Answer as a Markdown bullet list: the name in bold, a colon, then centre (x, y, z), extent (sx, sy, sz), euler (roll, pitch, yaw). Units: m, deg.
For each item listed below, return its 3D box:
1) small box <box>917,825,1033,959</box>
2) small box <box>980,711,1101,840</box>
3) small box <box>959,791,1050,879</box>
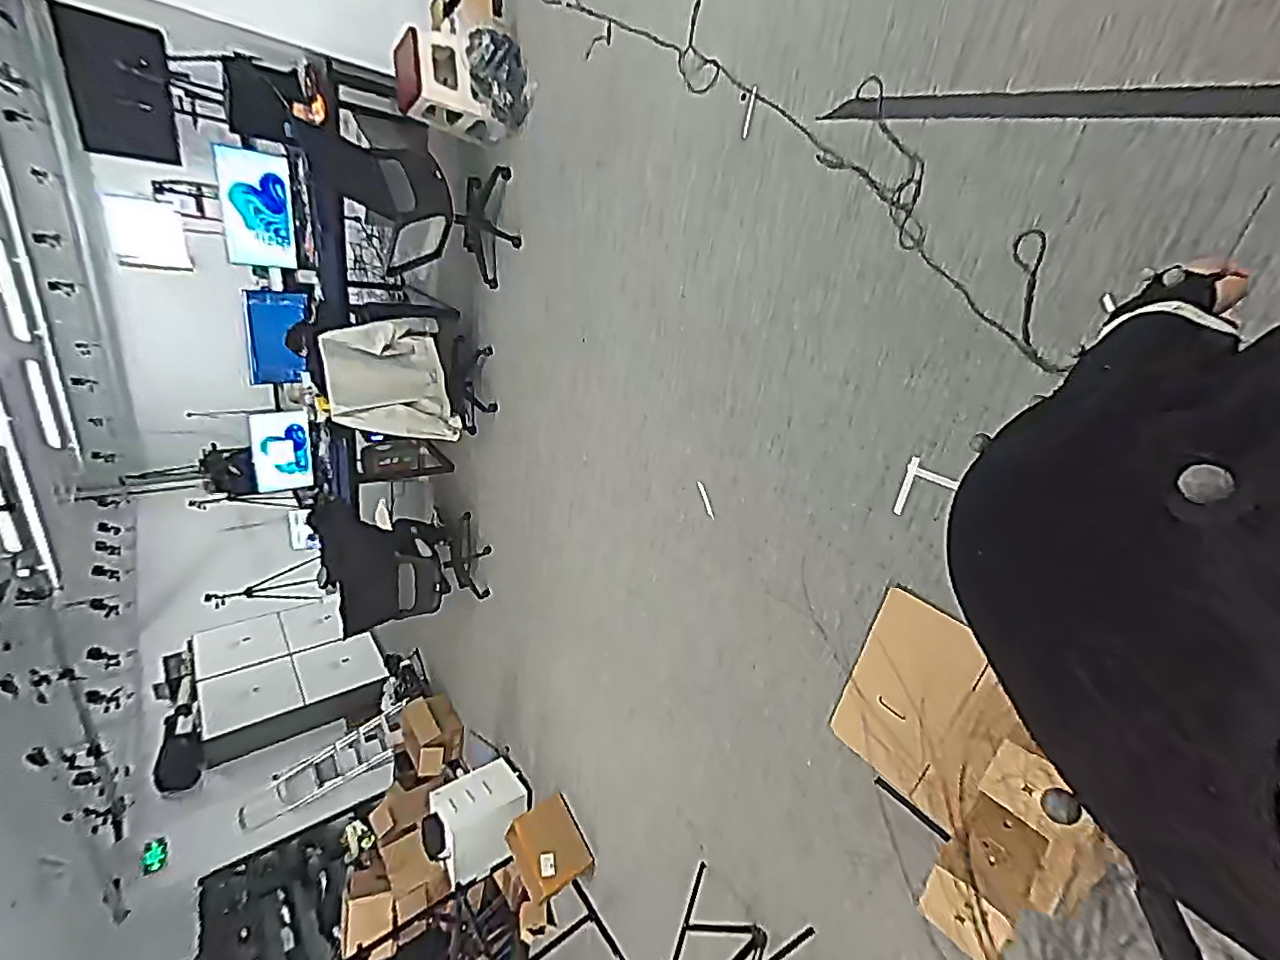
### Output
- **small box**: centre (0.796, 0.978, 1.281), extent (0.168, 0.176, 0.179), euler (27, 119, 43)
- **small box**: centre (0.954, 0.689, 1.284), extent (0.168, 0.176, 0.179), euler (31, 122, 43)
- **small box**: centre (0.919, 0.950, 1.387), extent (0.168, 0.176, 0.179), euler (26, 117, 45)
